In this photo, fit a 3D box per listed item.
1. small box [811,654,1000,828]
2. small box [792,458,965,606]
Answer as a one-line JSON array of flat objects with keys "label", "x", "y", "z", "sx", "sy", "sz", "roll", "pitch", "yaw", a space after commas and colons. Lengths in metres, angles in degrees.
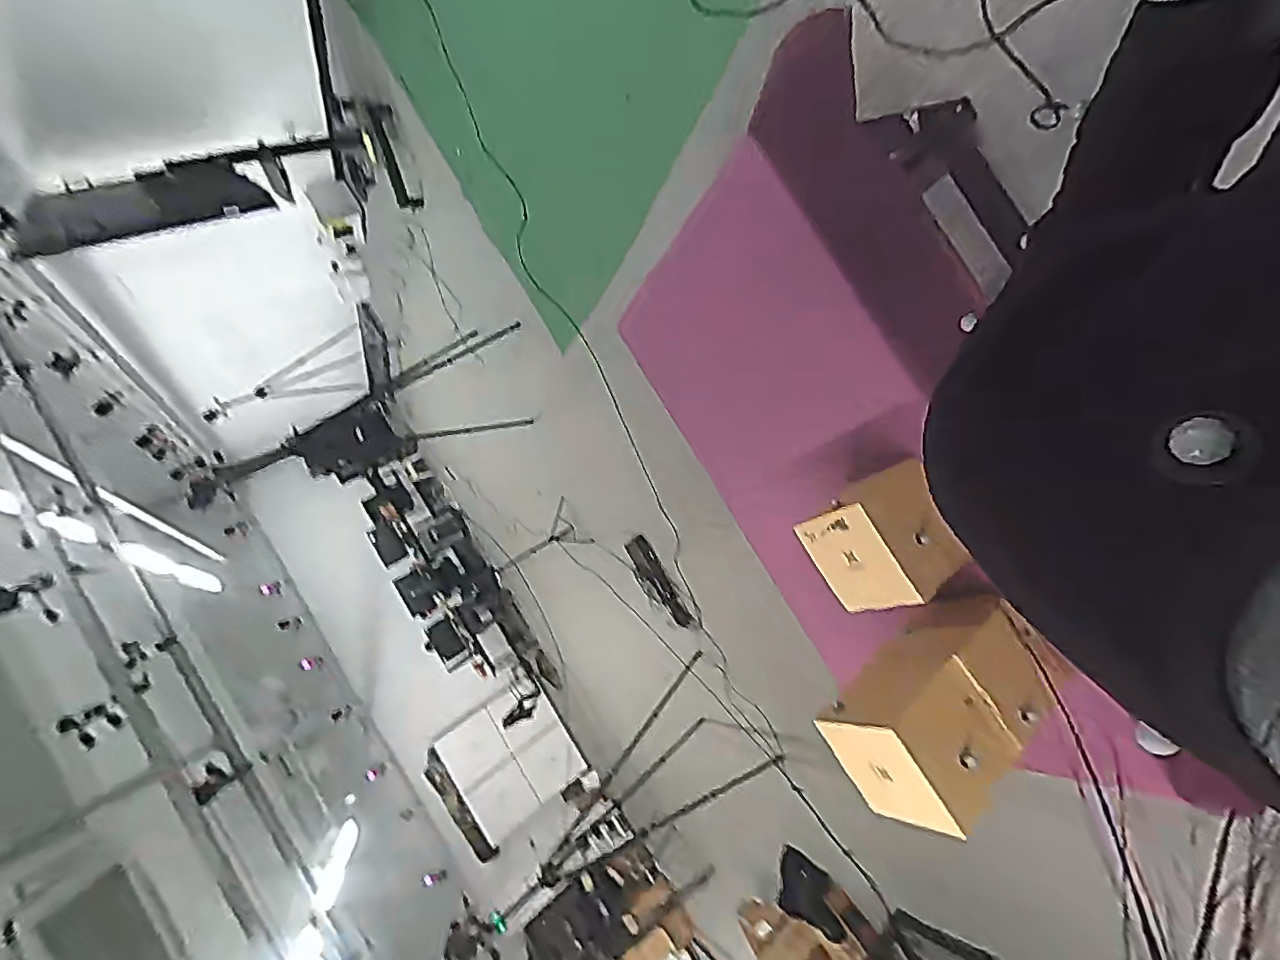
[{"label": "small box", "x": 0.411, "y": 0.385, "z": 0.833, "sx": 0.168, "sy": 0.176, "sz": 0.179, "roll": 57, "pitch": 154, "yaw": 6}, {"label": "small box", "x": 0.403, "y": 0.090, "z": 0.915, "sx": 0.179, "sy": 0.176, "sz": 0.168, "roll": 58, "pitch": 152, "yaw": 3}]
